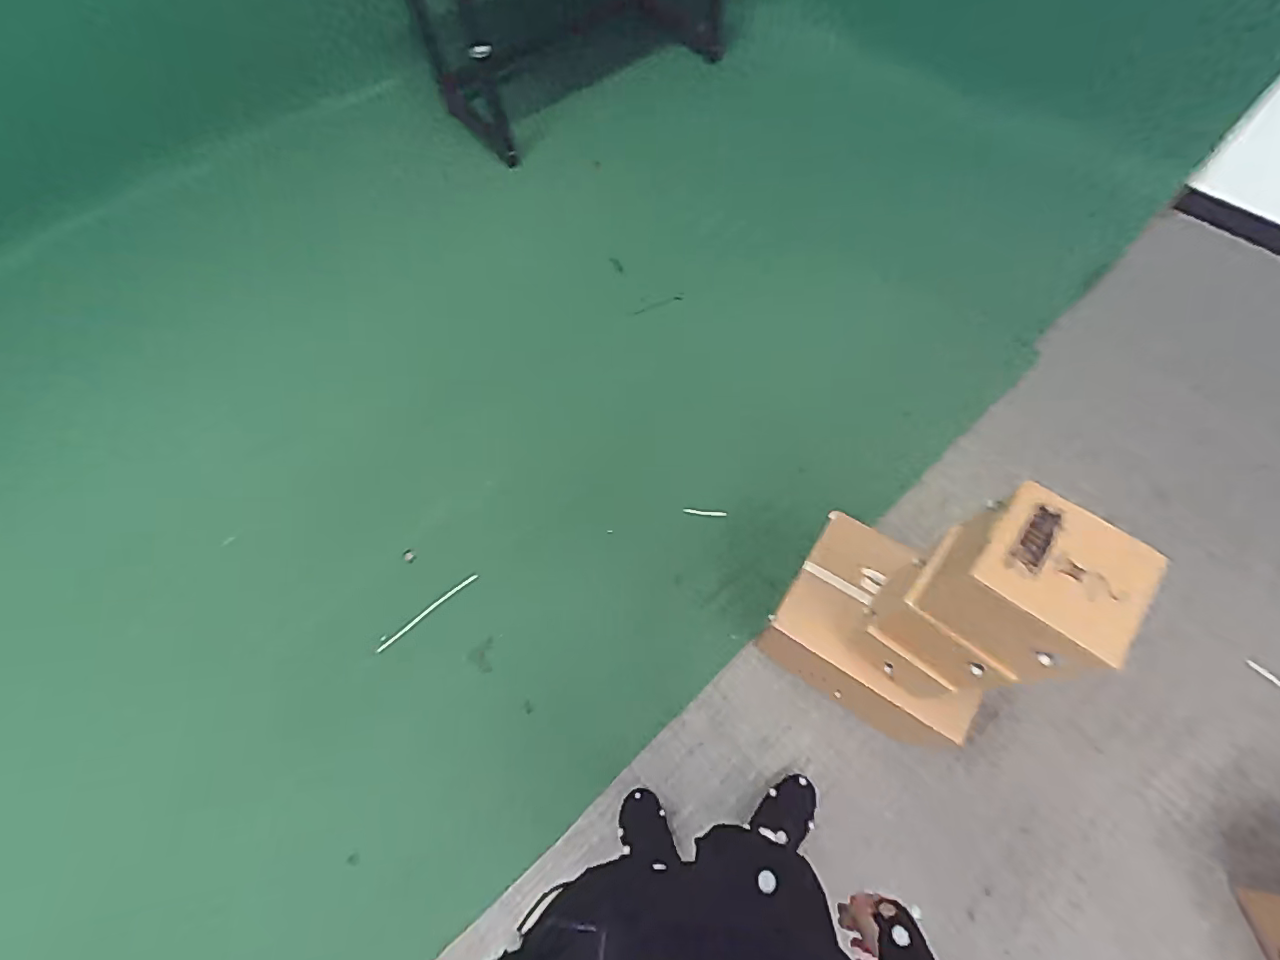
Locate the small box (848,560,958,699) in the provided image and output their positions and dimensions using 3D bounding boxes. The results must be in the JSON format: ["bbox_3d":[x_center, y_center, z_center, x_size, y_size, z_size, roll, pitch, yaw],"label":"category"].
[{"bbox_3d":[0.515,0.286,1.012,0.168,0.176,0.179,37,72,18],"label":"small box"}]

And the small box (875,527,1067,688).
[{"bbox_3d":[0.514,0.212,0.868,0.179,0.176,0.168,38,72,19],"label":"small box"}]

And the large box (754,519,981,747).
[{"bbox_3d":[0.526,0.360,1.250,0.408,0.320,0.320,31,68,18],"label":"large box"}]
